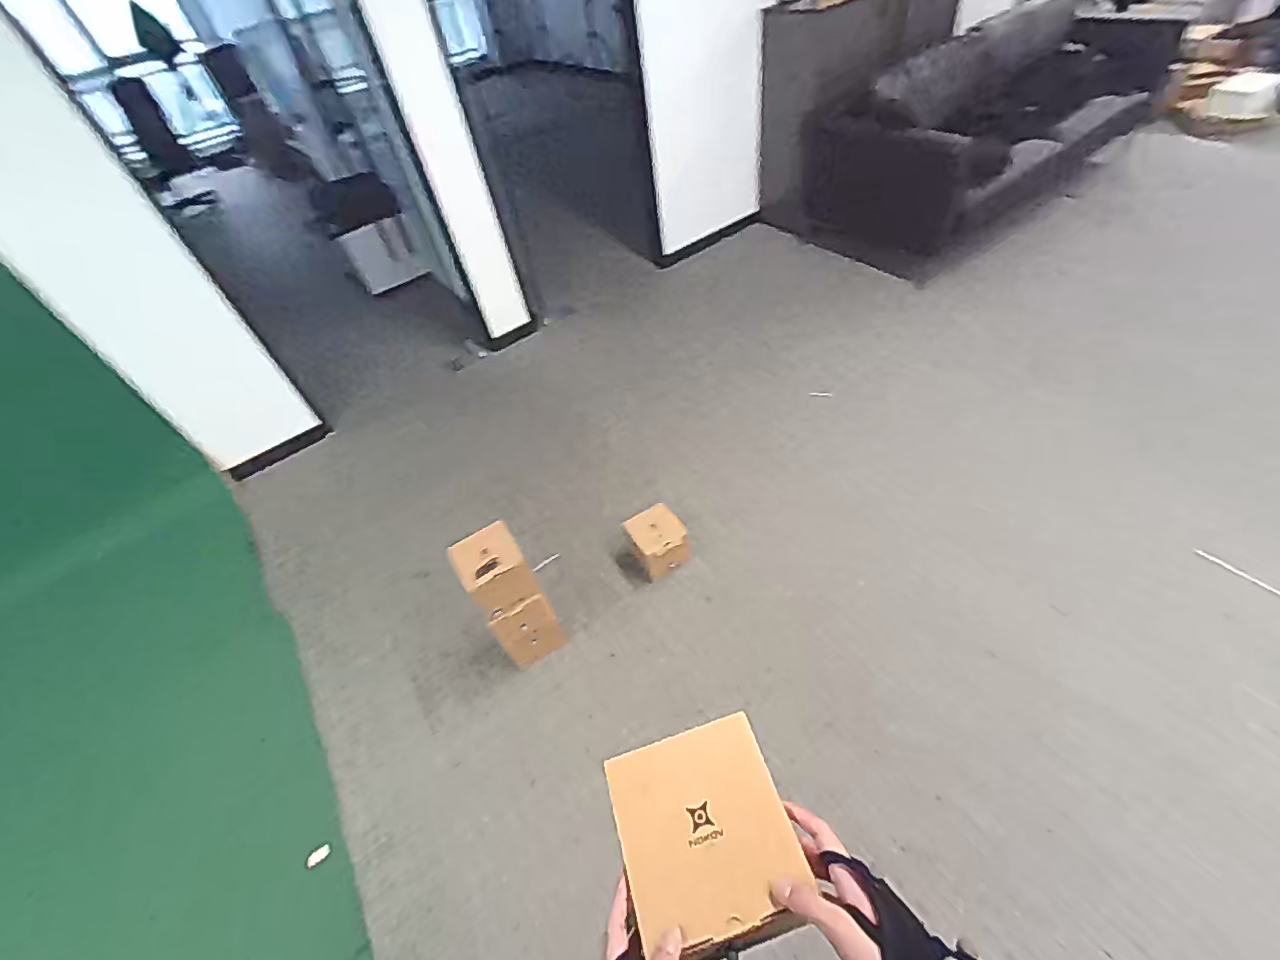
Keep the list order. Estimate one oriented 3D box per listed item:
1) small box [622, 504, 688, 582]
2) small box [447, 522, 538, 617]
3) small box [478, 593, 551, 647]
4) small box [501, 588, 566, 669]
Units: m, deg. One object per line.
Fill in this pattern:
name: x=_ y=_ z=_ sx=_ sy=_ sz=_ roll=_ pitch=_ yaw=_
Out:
small box: x=0.055 y=0.224 z=1.898 sx=0.168 sy=0.176 sz=0.179 roll=-25 pitch=50 yaw=-9
small box: x=-0.406 y=0.258 z=1.512 sx=0.168 sy=0.176 sz=0.179 roll=-30 pitch=50 yaw=-16
small box: x=-0.387 y=0.376 z=1.626 sx=0.168 sy=0.176 sz=0.179 roll=-29 pitch=51 yaw=-15
small box: x=-0.363 y=0.479 z=1.751 sx=0.179 sy=0.176 sz=0.168 roll=-28 pitch=50 yaw=-15
